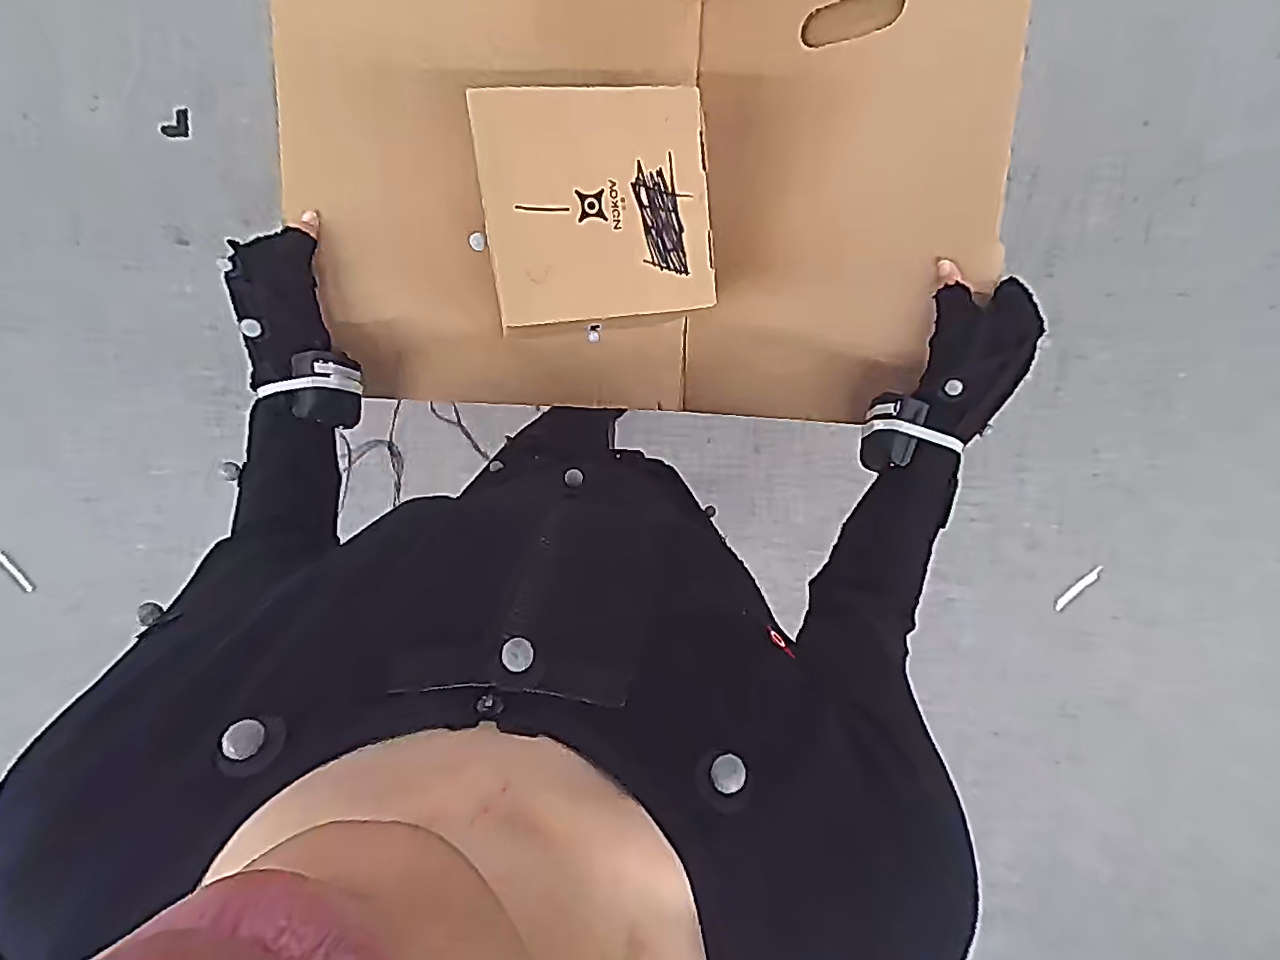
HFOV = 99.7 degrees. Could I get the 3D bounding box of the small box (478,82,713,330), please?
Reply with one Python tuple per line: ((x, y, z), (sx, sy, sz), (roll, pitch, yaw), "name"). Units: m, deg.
((-0.047, -0.235, 0.502), (0.179, 0.176, 0.168), (-9, 102, -11), "small box")
